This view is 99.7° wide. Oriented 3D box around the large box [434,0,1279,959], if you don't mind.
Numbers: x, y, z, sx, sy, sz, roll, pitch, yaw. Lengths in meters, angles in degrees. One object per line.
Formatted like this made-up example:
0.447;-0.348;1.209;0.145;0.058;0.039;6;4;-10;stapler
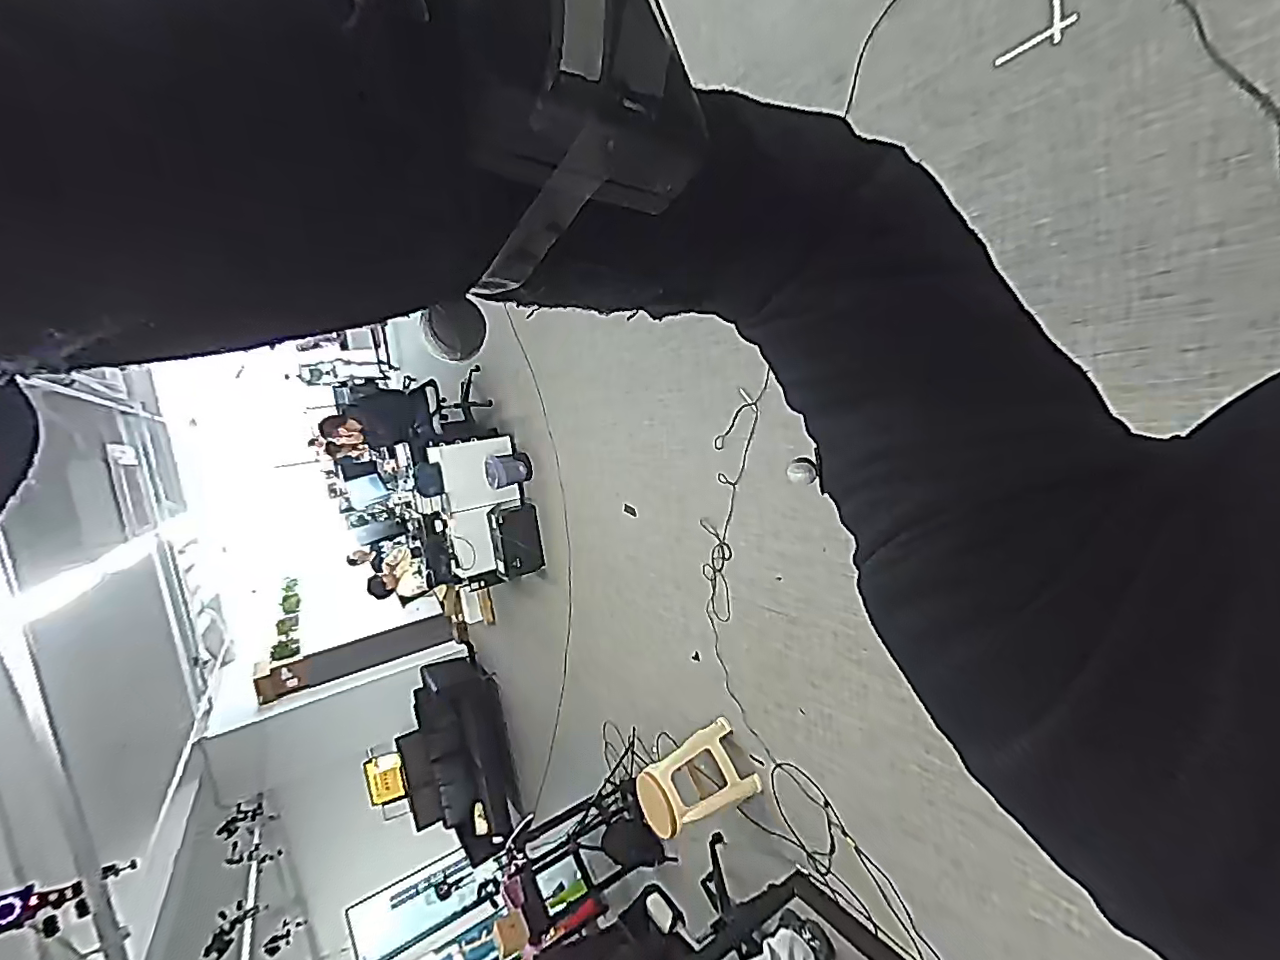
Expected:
0.169;-0.020;0.147;0.408;0.320;0.320;25;-84;58;large box
